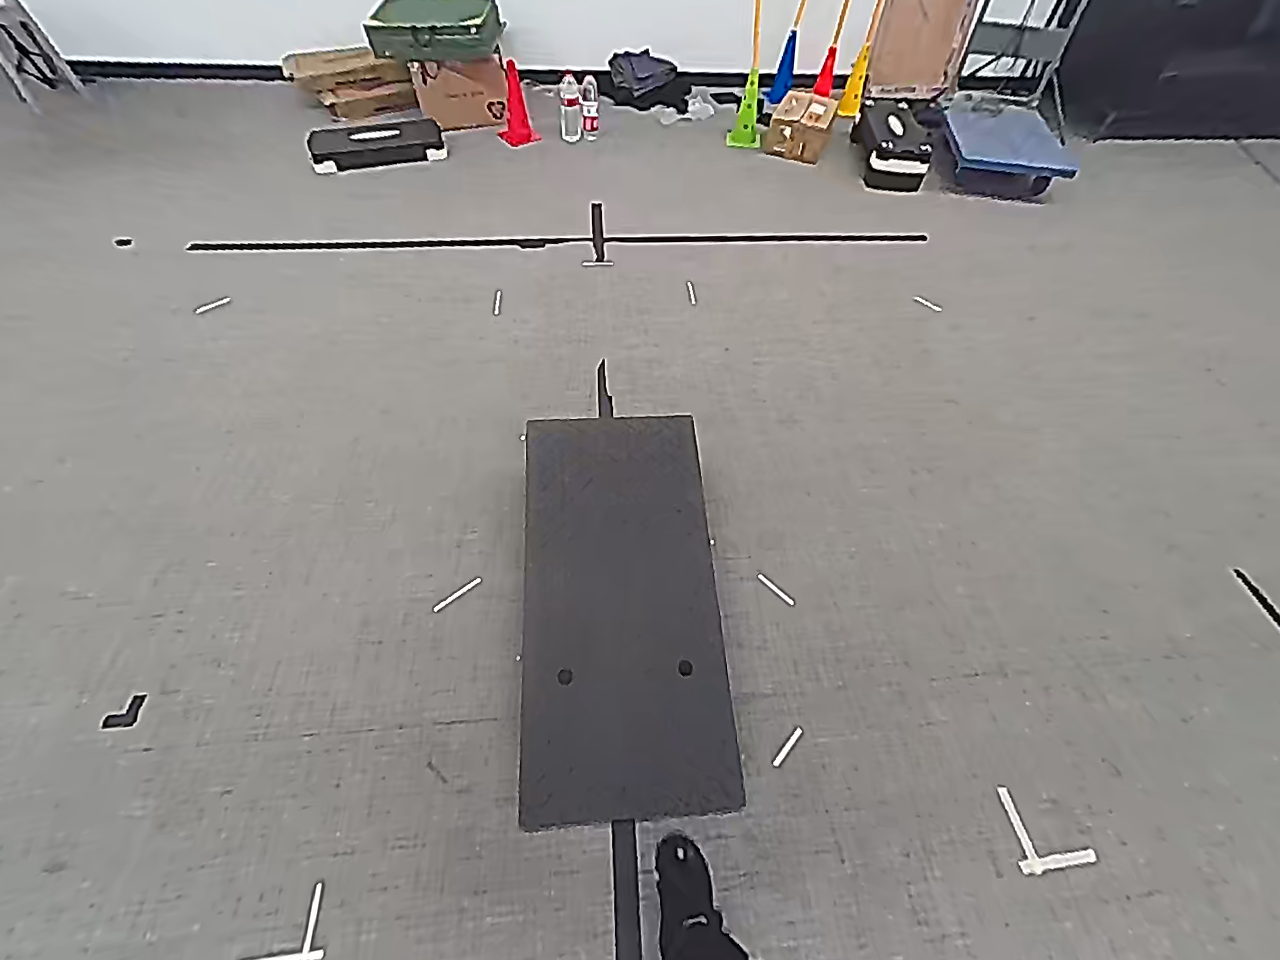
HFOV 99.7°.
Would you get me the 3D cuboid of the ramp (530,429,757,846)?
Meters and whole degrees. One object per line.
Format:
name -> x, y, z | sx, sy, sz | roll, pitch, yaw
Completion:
ramp -> -0.030, 0.306, 1.369 | 0.509, 0.206, 0.991 | -4, 53, -7
